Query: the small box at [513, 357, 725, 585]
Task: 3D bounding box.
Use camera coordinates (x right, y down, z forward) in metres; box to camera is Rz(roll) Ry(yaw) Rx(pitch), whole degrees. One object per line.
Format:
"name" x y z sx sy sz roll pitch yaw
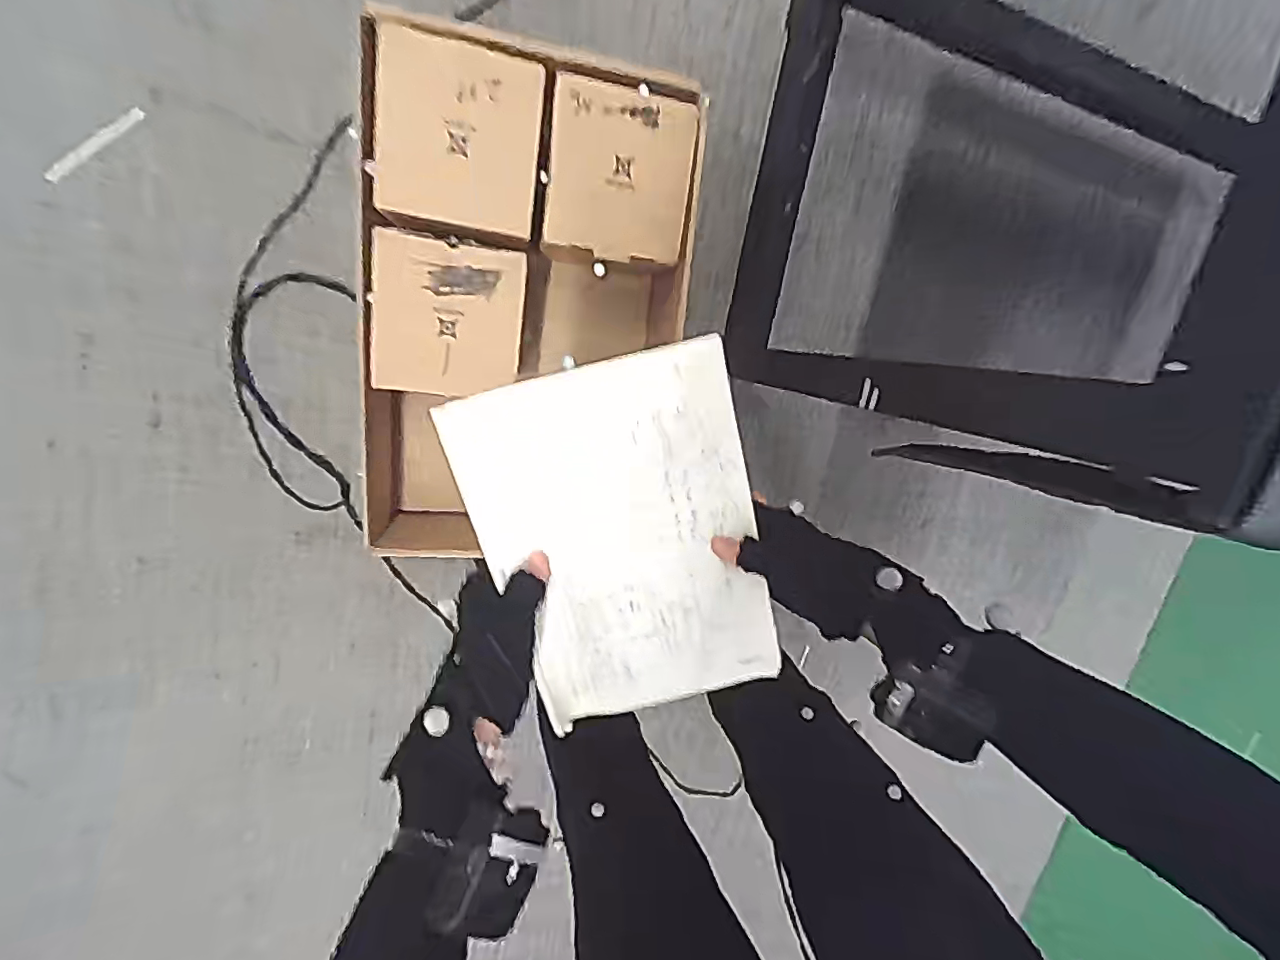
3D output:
"small box" -0.031 -0.019 0.499 0.168 0.176 0.179 -2 101 -12
